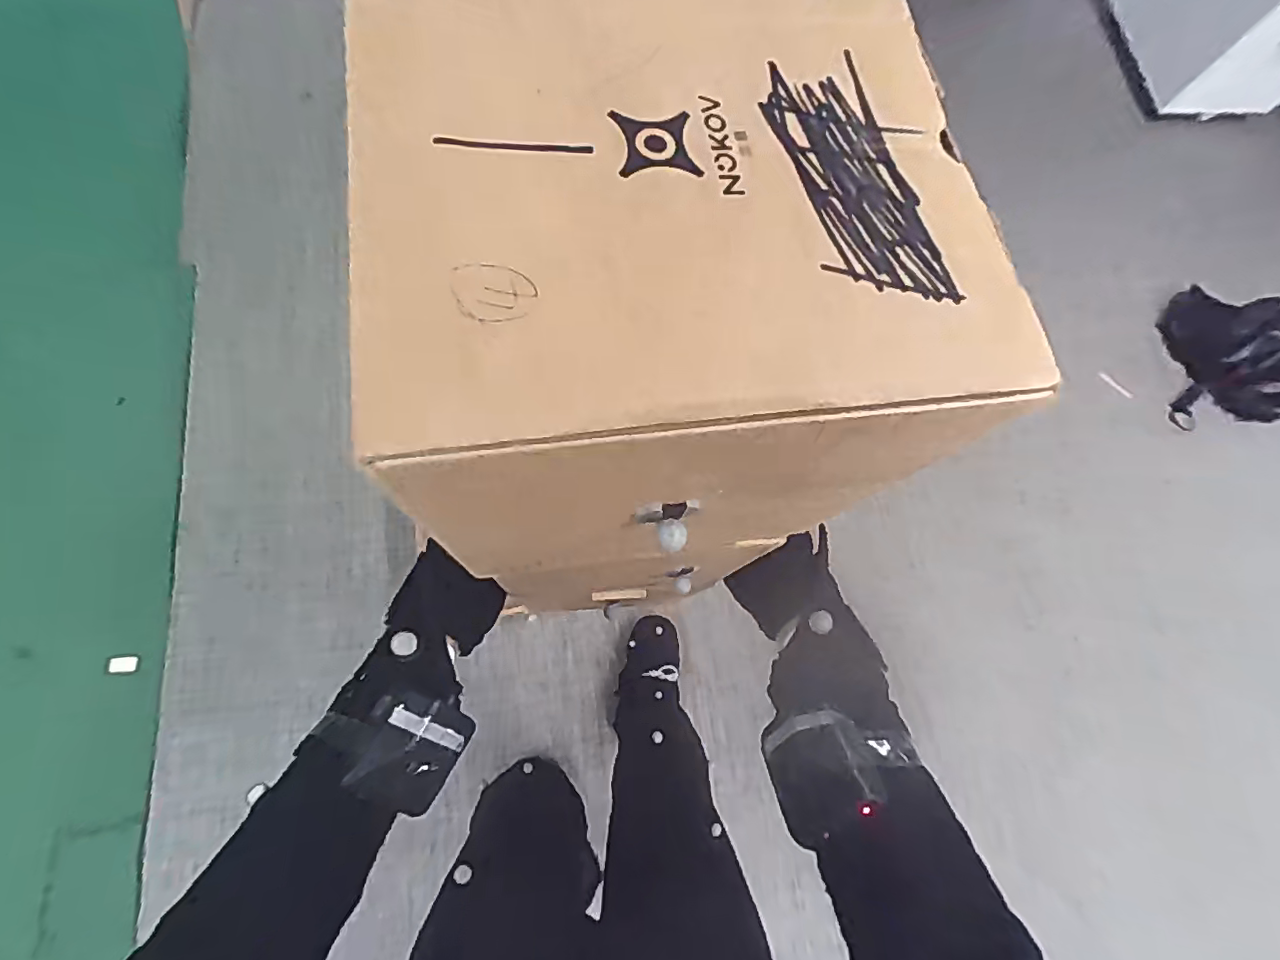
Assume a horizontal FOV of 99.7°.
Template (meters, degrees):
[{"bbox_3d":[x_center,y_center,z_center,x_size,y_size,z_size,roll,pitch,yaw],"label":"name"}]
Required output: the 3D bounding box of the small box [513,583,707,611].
[{"bbox_3d":[-0.035,0.039,0.549,0.168,0.176,0.179,-2,73,-7],"label":"small box"}]

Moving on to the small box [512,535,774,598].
[{"bbox_3d":[-0.020,-0.012,0.394,0.168,0.176,0.179,-3,71,-9],"label":"small box"}]
